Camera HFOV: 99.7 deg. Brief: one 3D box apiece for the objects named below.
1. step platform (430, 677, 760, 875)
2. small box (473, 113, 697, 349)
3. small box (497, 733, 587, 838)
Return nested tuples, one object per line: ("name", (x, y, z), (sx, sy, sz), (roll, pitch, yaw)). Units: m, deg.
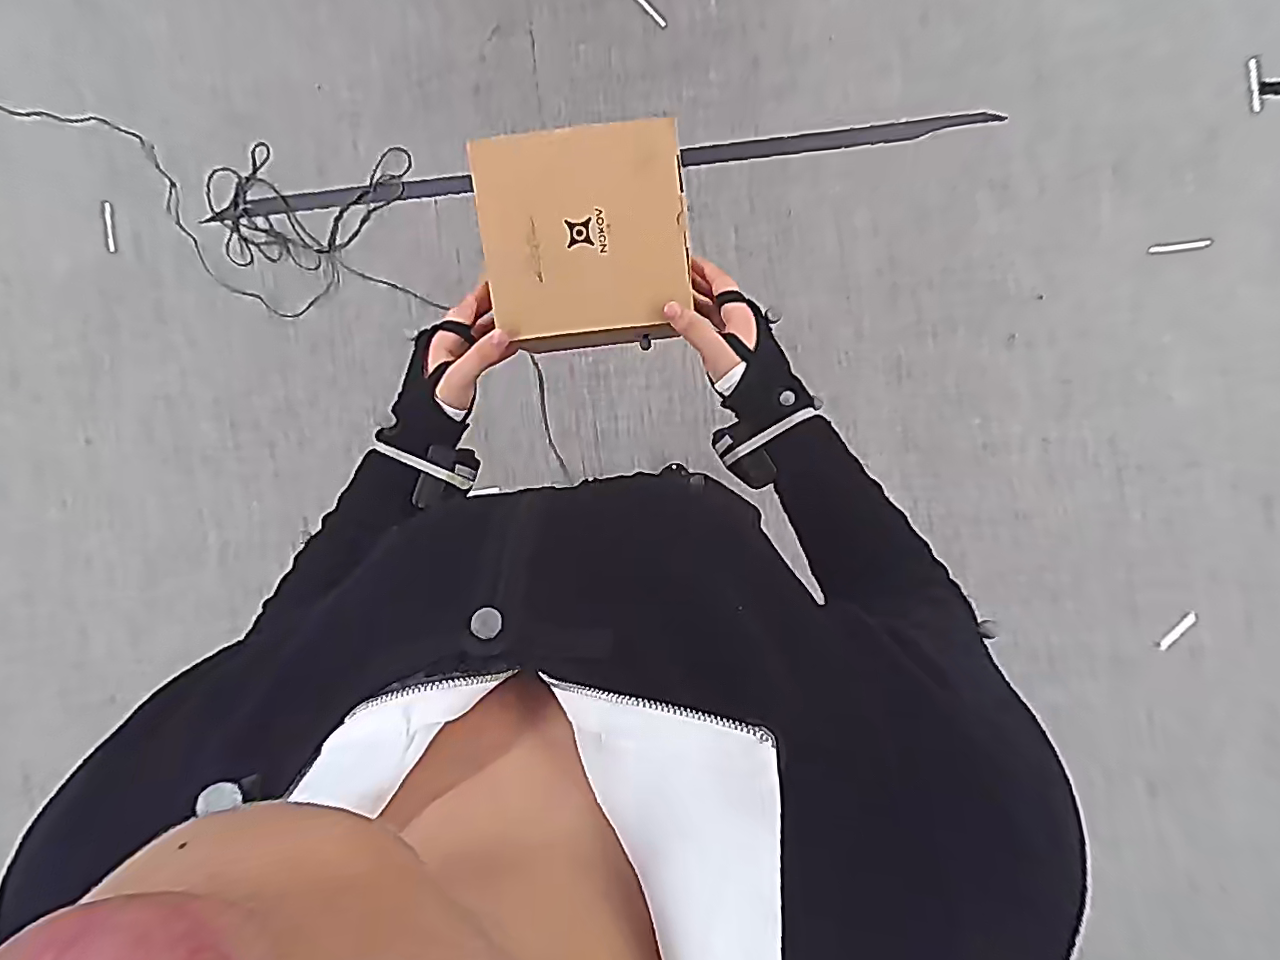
("step platform", (-0.092, 0.642, 1.208), (0.684, 0.204, 0.286), (-8, 91, 3))
("small box", (-0.045, -0.228, 0.540), (0.179, 0.176, 0.168), (-7, 99, 2))
("small box", (-0.215, 0.696, 1.248), (0.168, 0.176, 0.179), (-9, 91, 1))
